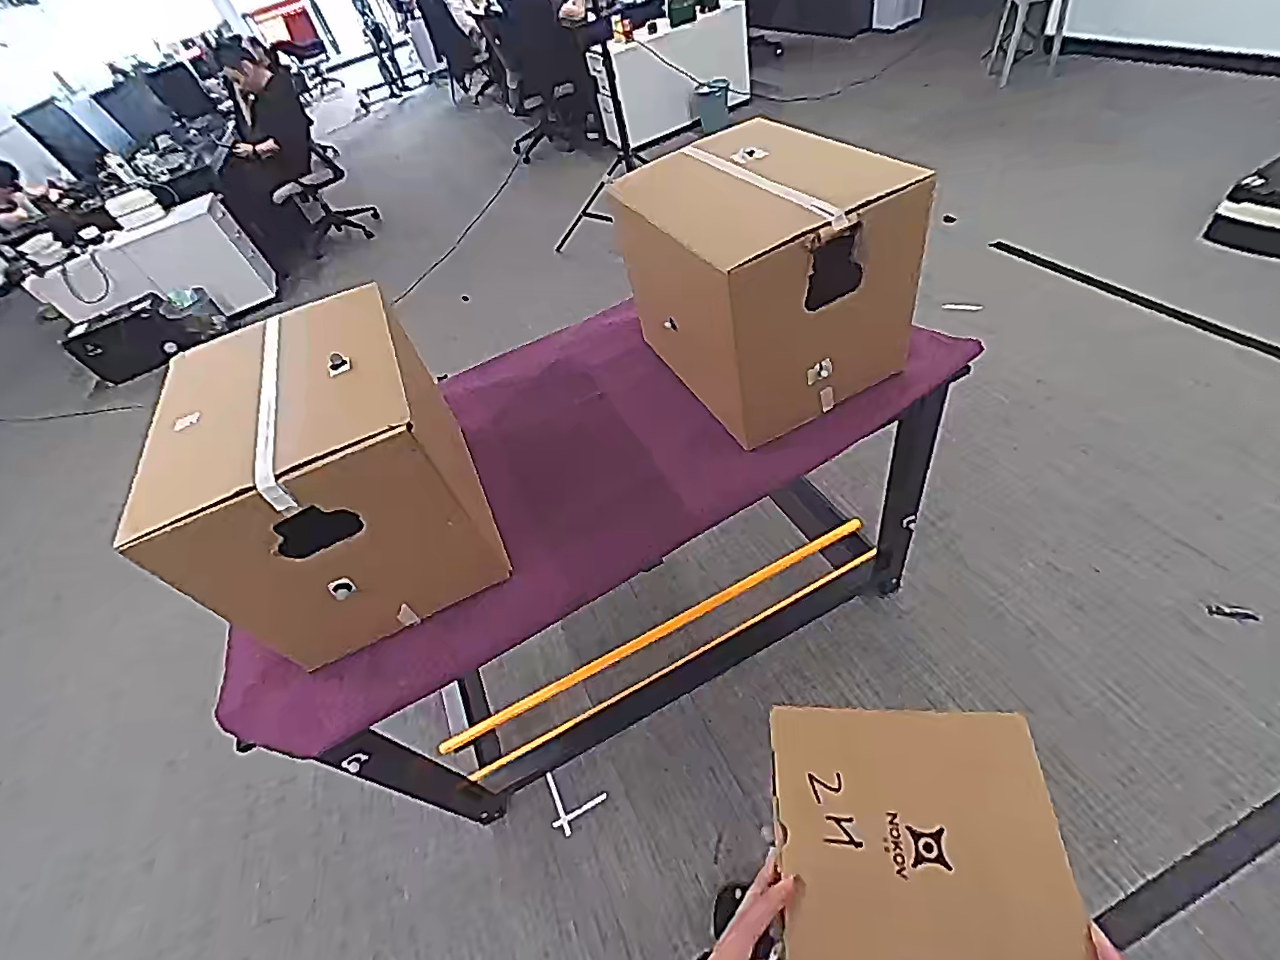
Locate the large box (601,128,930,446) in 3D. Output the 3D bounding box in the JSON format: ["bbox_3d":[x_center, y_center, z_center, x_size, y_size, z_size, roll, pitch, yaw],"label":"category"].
[{"bbox_3d":[0.186,-0.328,0.895,0.320,0.320,0.408,-27,46,-9],"label":"large box"}]

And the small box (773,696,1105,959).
[{"bbox_3d":[0.197,0.272,0.412,0.179,0.176,0.168,-4,55,14],"label":"small box"}]
